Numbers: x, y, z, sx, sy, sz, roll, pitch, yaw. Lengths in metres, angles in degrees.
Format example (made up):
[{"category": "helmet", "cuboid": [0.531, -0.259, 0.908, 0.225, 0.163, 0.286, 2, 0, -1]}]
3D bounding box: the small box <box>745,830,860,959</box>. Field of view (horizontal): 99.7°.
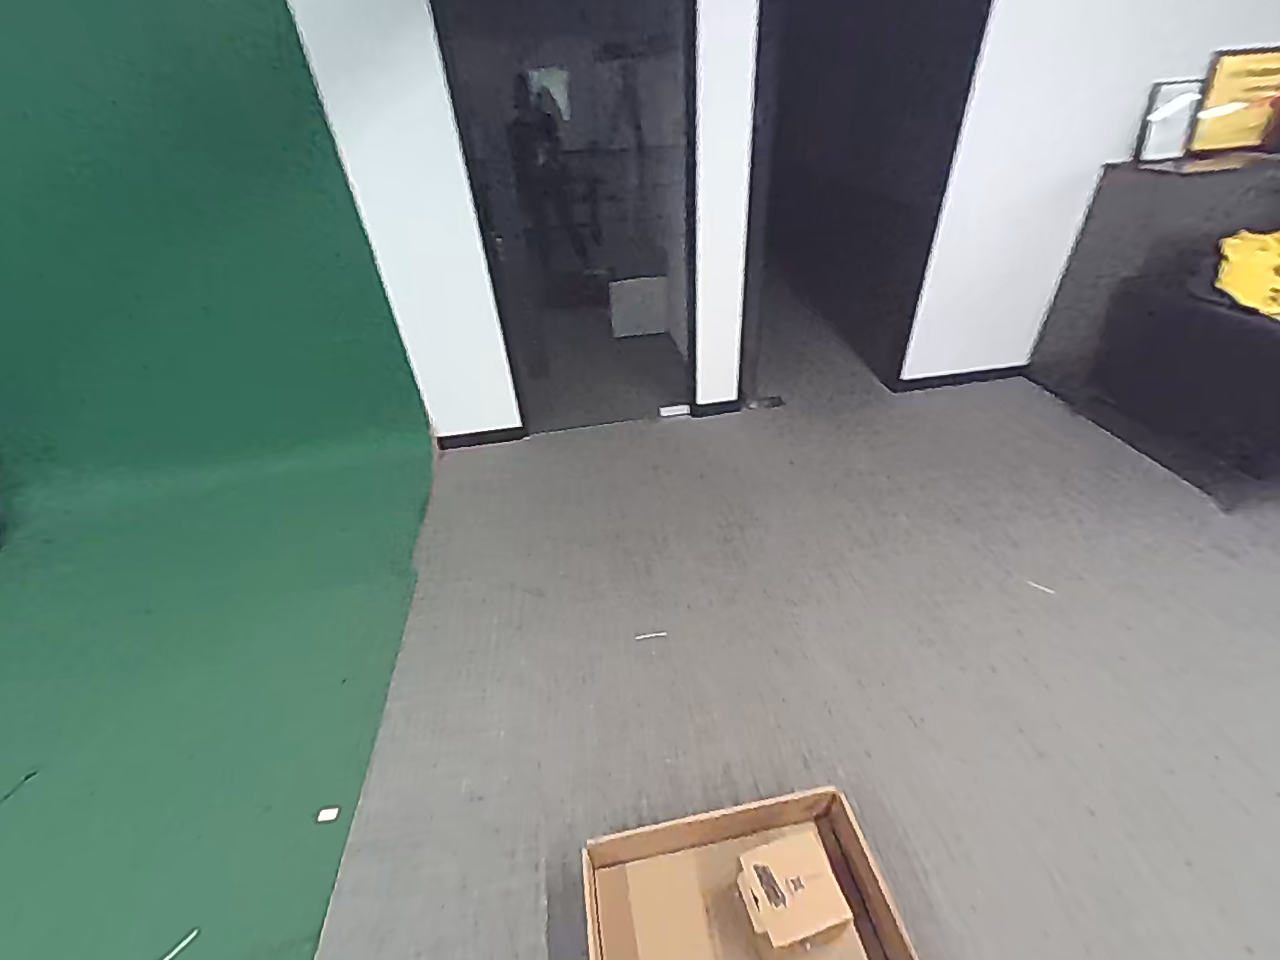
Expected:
[{"category": "small box", "cuboid": [0.334, 0.890, 1.146, 0.179, 0.176, 0.168, -13, 38, -10]}]
